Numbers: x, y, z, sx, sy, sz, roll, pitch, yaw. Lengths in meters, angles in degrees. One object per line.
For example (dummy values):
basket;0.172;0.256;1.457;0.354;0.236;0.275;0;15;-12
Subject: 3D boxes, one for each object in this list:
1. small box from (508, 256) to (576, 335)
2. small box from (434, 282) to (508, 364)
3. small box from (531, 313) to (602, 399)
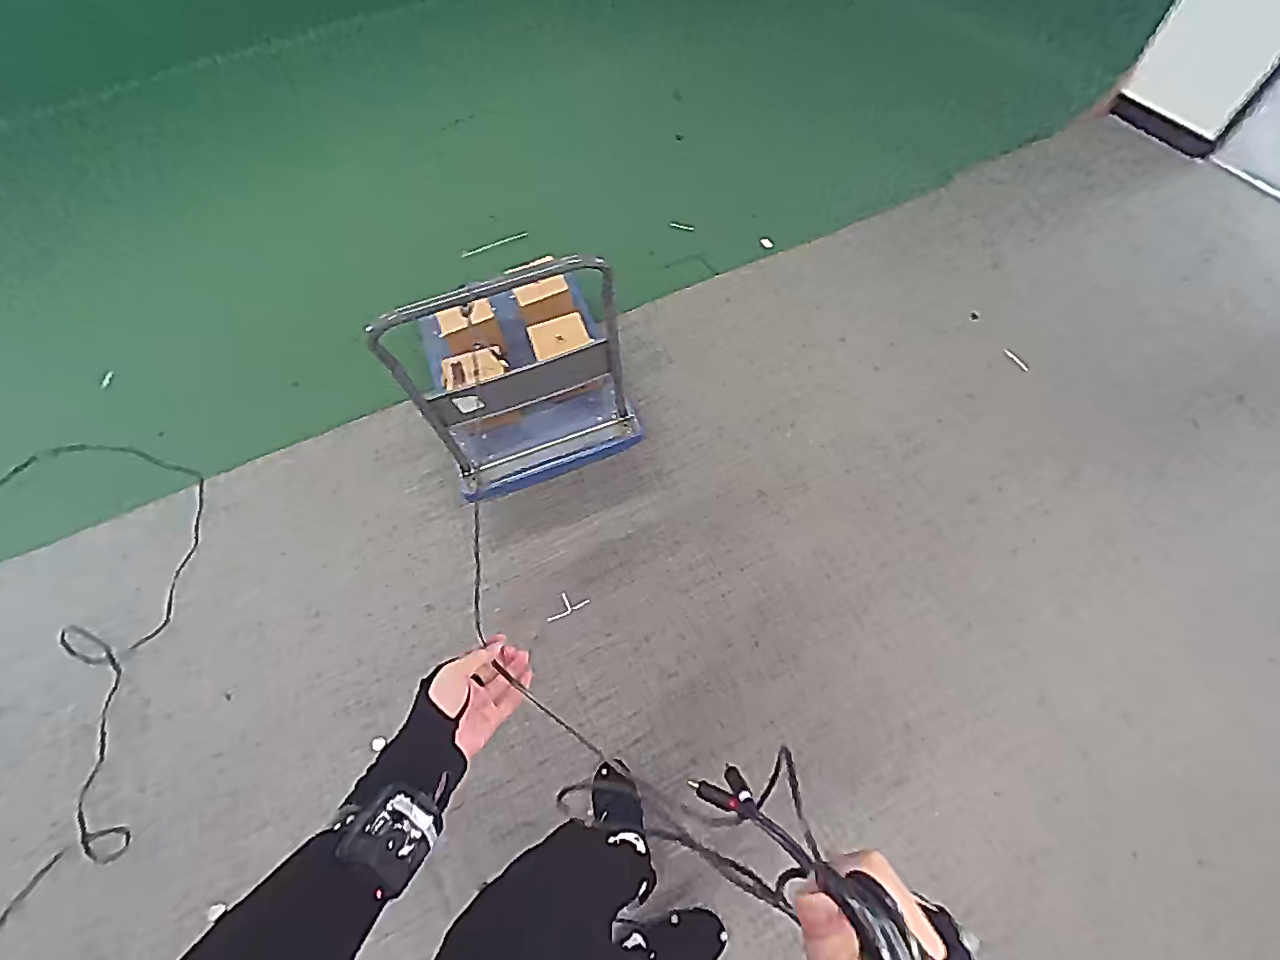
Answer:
small box;-0.321;-0.606;1.811;0.168;0.176;0.179;-23;64;-7
small box;-0.550;-0.506;1.777;0.168;0.176;0.179;-23;63;-8
small box;-0.227;-0.384;1.689;0.168;0.176;0.179;-19;63;-5
